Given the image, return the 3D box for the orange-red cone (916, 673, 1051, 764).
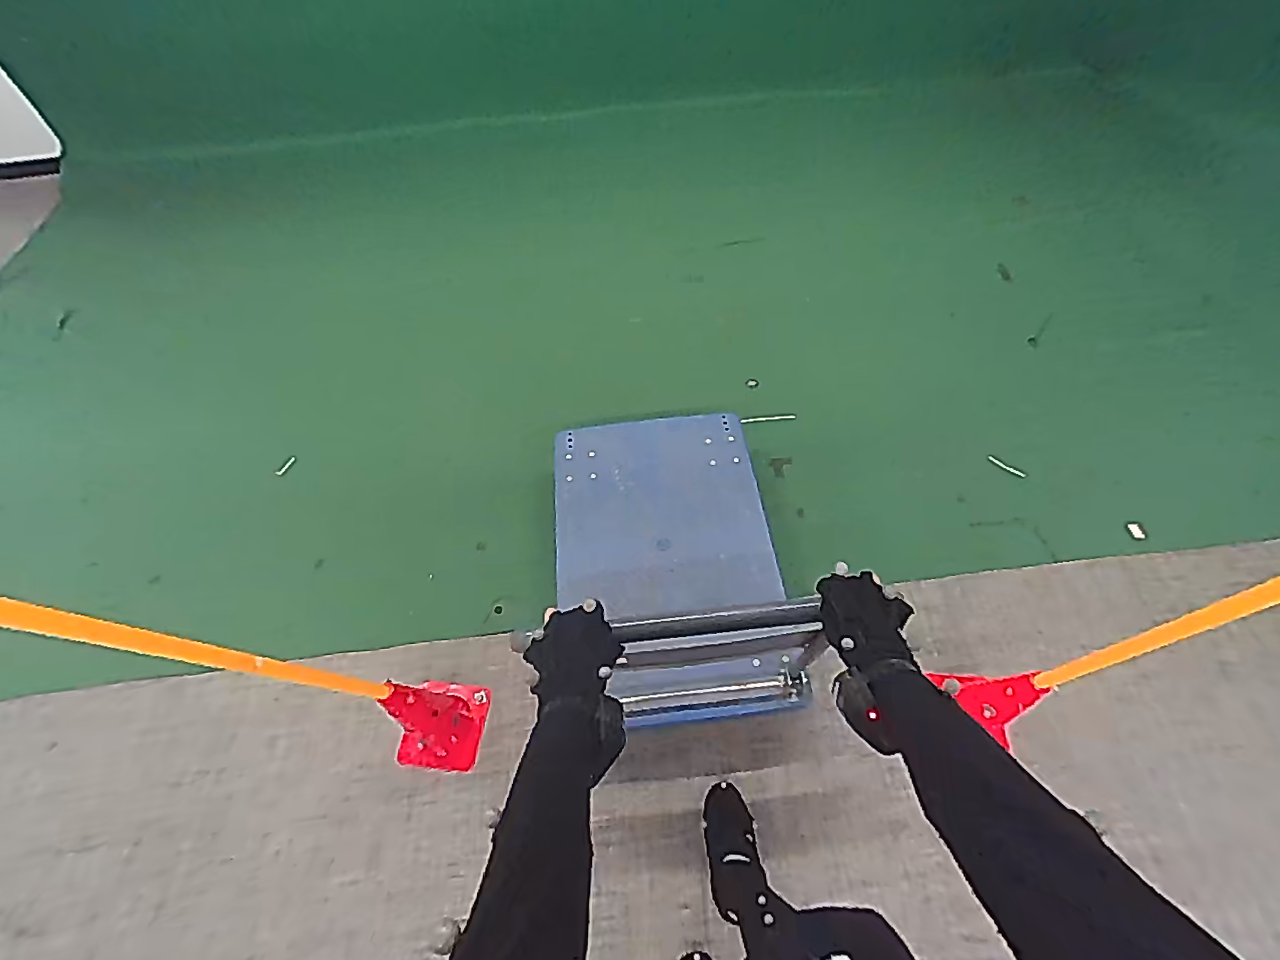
[{"bbox_3d":[0.783,0.489,1.185,0.198,0.360,0.199,2,57,6],"label":"orange-red cone"}]
